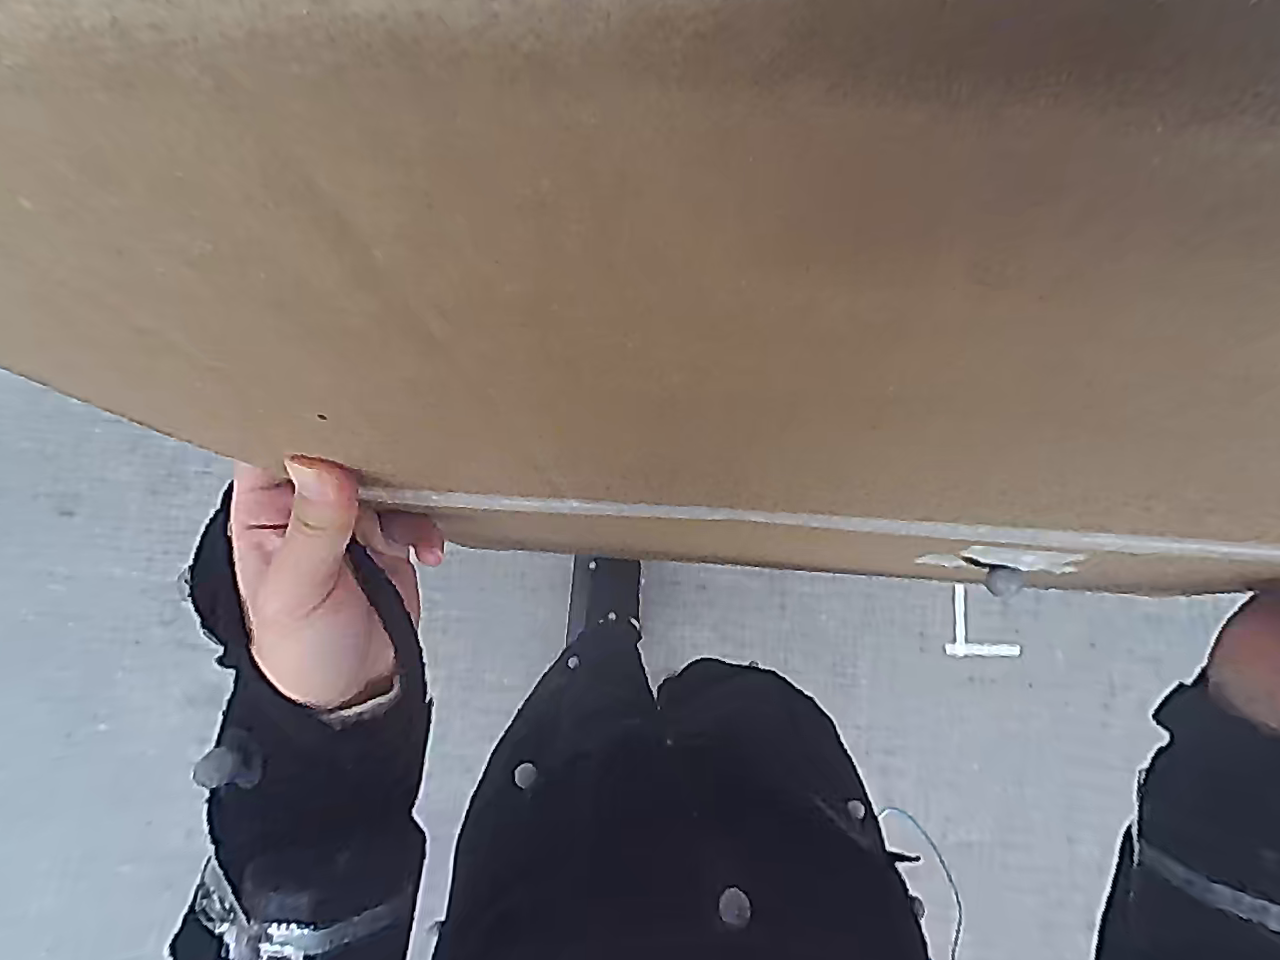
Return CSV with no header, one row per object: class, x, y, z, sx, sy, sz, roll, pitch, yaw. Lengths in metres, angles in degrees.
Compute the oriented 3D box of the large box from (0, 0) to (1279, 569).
large box,0.080,-0.148,0.221,0.408,0.320,0.320,2,74,7
